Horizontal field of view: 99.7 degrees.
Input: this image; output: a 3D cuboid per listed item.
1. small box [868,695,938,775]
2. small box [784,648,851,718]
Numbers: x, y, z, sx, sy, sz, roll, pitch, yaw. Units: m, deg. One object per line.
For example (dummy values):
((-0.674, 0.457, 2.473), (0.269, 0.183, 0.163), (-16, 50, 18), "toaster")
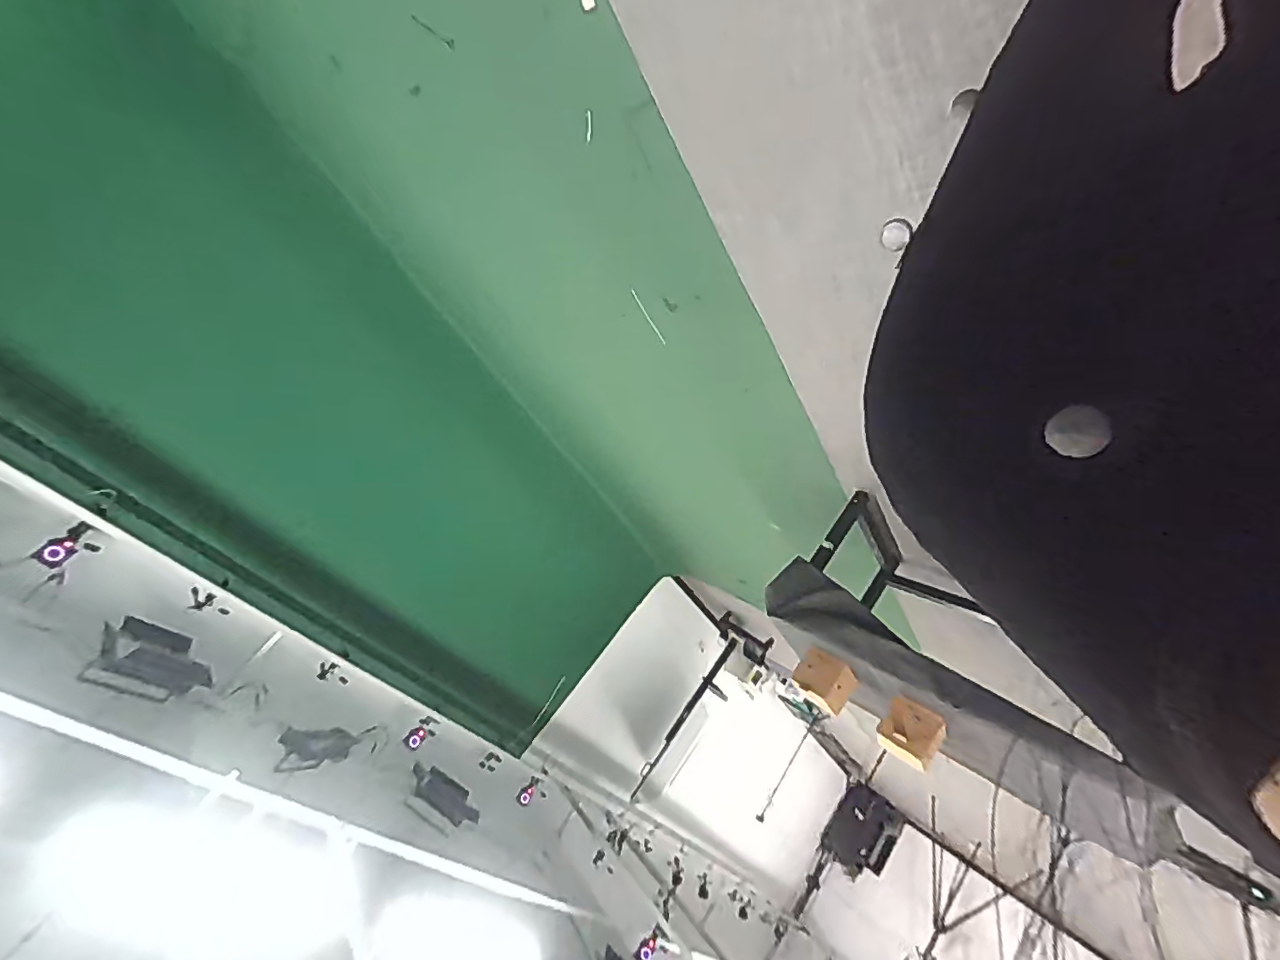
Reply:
((0.936, 0.898, 1.913), (0.168, 0.176, 0.179), (24, 157, 43), "small box")
((0.708, 0.800, 2.147), (0.168, 0.176, 0.179), (20, 155, 50), "small box")
